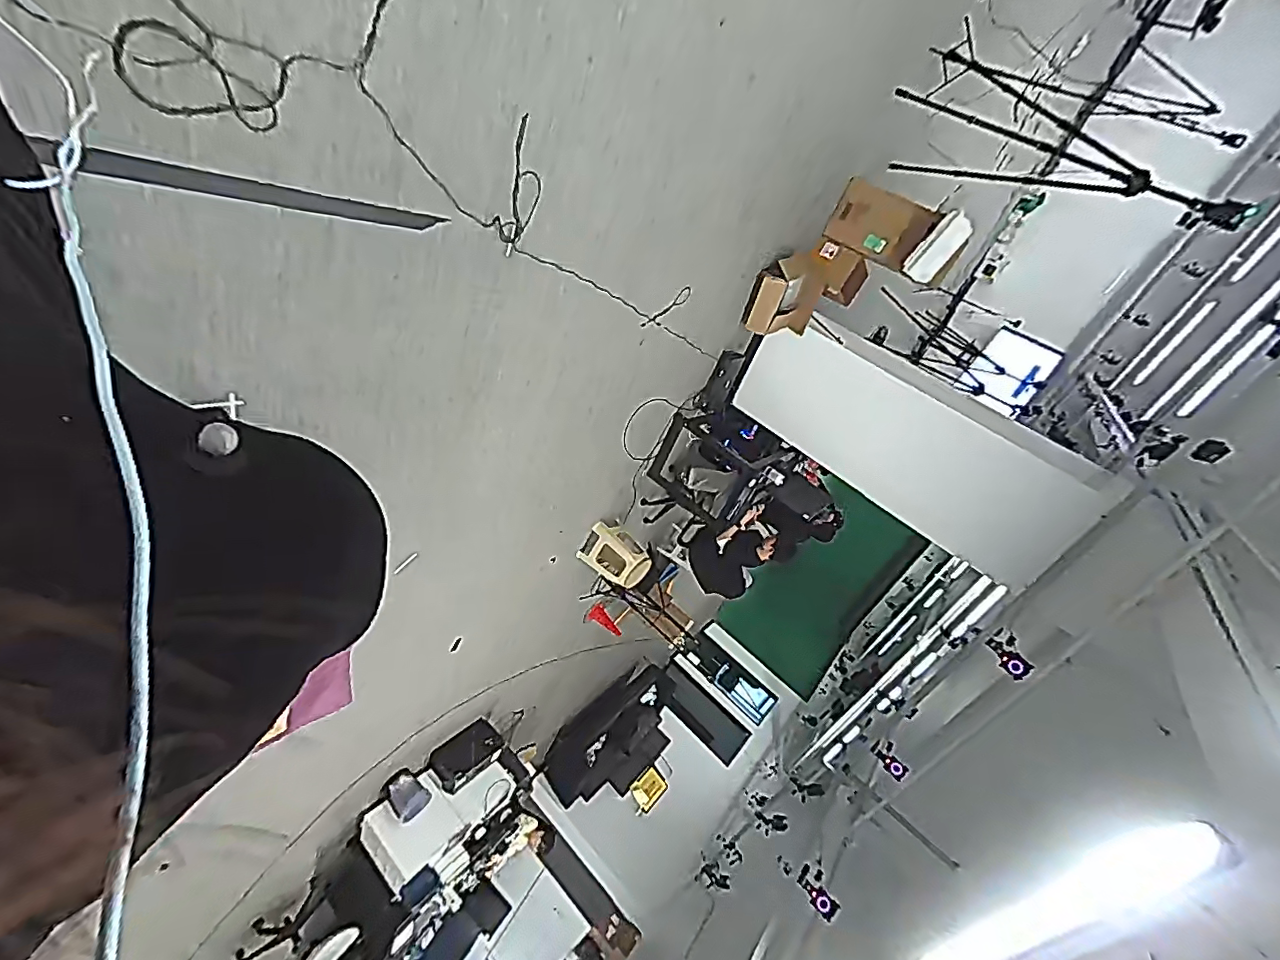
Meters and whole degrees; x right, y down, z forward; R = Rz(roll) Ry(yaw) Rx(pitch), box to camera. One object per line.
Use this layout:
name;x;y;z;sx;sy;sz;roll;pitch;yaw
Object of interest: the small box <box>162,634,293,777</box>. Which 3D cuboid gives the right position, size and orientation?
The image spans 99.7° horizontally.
small box;-0.858;0.457;1.120;0.179;0.176;0.168;-19;142;-53
